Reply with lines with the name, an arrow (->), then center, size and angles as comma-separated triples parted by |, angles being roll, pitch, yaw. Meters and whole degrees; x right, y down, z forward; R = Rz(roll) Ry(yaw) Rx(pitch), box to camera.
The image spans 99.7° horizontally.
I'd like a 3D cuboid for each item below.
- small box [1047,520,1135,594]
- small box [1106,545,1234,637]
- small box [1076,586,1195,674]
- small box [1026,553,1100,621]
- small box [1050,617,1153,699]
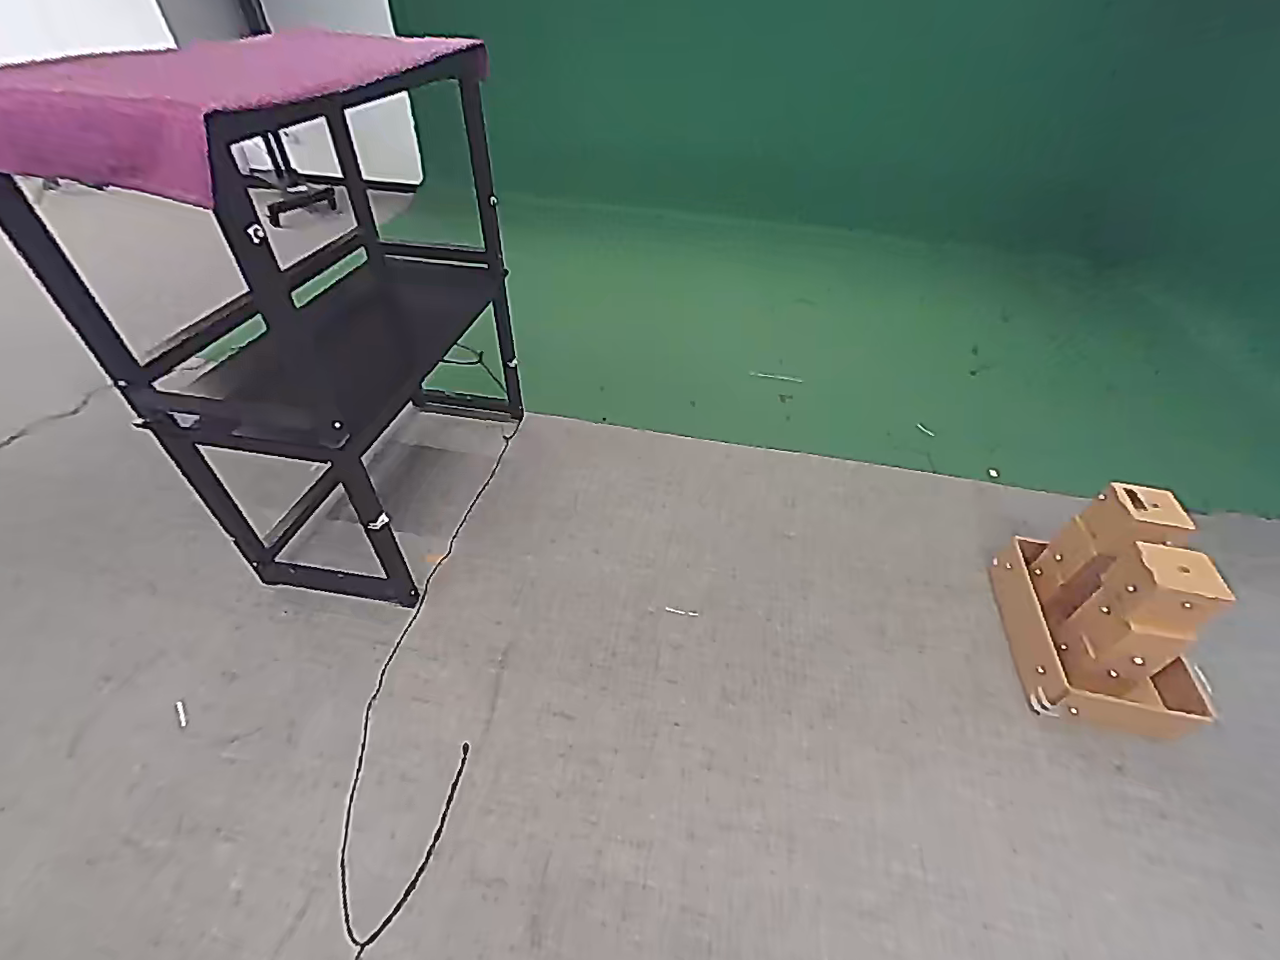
small box -> 1.507, 0.262, 1.797 | 0.168, 0.176, 0.179 | 11, 45, 6
small box -> 1.450, 0.311, 1.502 | 0.179, 0.176, 0.168 | 12, 44, 9
small box -> 1.448, 0.443, 1.598 | 0.168, 0.176, 0.179 | 8, 43, 6
small box -> 1.505, 0.384, 1.911 | 0.179, 0.176, 0.168 | 9, 44, 8
small box -> 1.442, 0.566, 1.709 | 0.179, 0.176, 0.168 | 12, 43, 9
